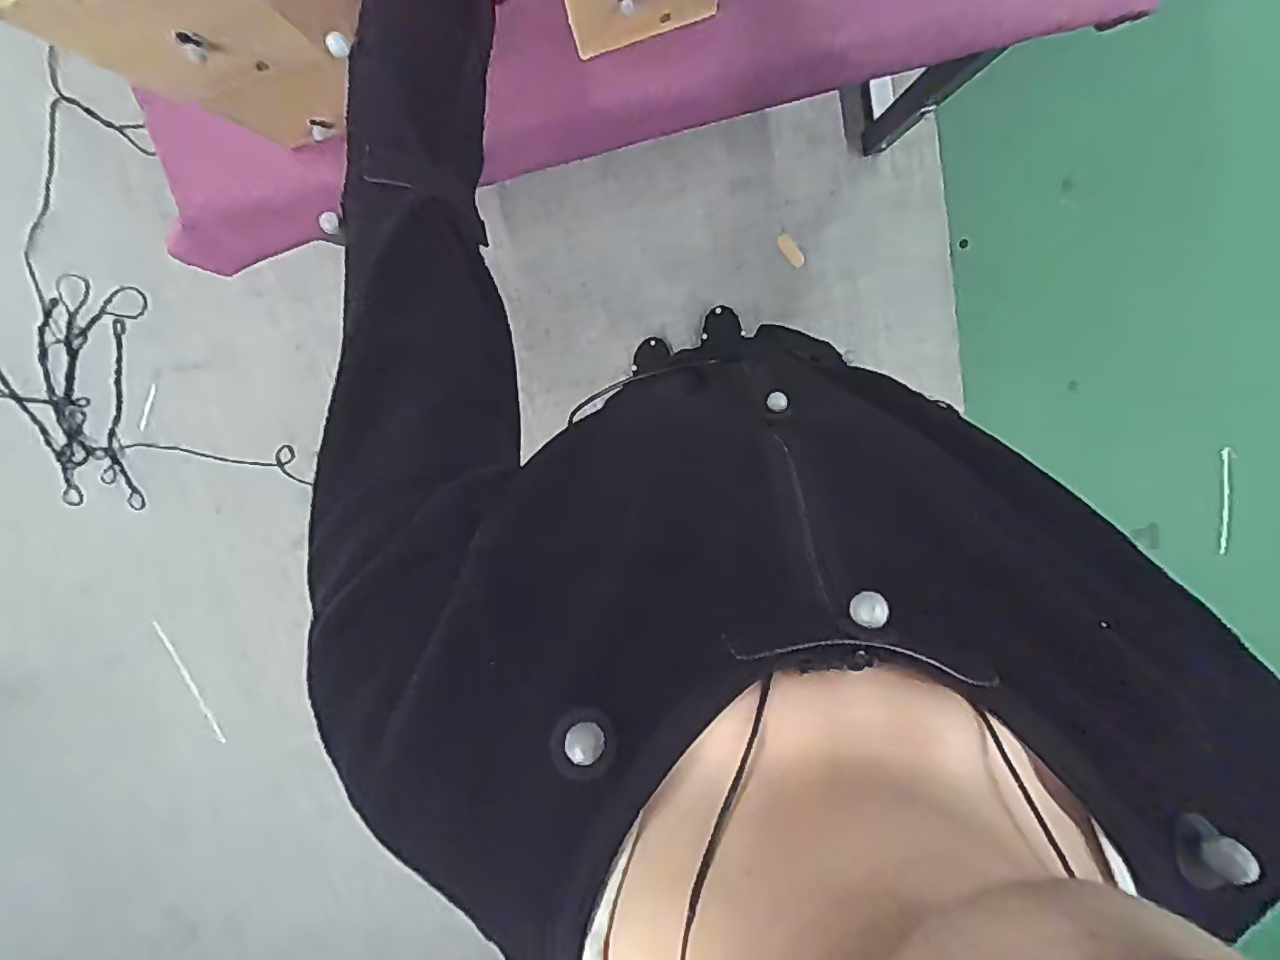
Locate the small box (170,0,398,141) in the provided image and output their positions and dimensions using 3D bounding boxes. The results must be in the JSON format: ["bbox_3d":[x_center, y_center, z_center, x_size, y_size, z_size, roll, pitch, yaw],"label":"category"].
[{"bbox_3d":[-0.395,-0.503,0.576,0.168,0.176,0.179,-14,104,6],"label":"small box"}]

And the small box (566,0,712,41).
[{"bbox_3d":[-0.016,-0.588,0.541,0.168,0.176,0.179,-14,102,6],"label":"small box"}]

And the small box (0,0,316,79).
[{"bbox_3d":[-0.397,-0.451,0.421,0.168,0.176,0.179,-13,104,5],"label":"small box"}]

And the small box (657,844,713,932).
[{"bbox_3d":[0.146,1.332,1.776,0.168,0.176,0.179,-6,105,5],"label":"small box"}]
